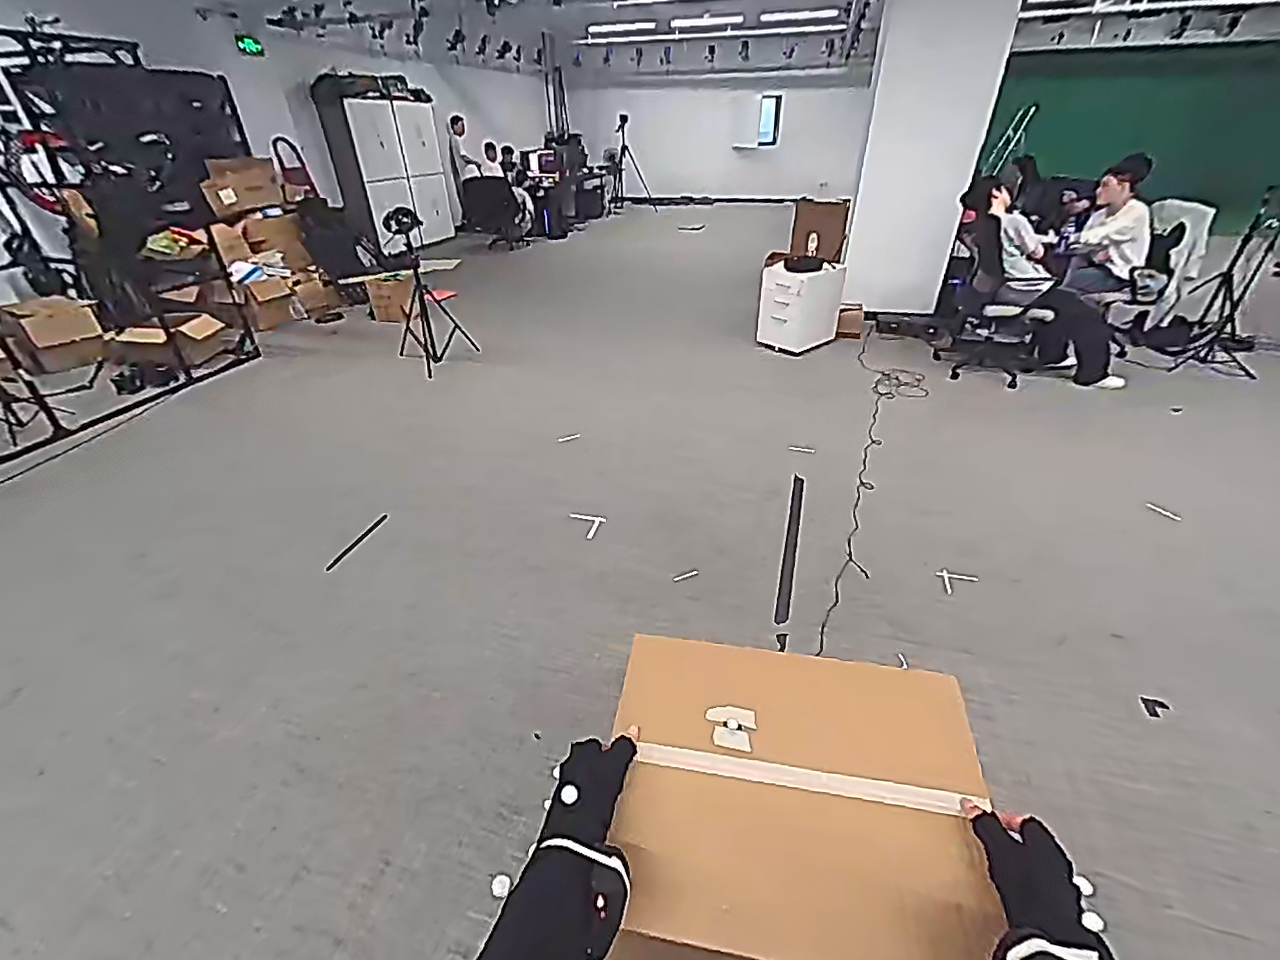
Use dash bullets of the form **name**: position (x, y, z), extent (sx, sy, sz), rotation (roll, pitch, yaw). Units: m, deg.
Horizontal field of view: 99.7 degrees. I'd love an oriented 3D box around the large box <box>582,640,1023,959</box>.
- **large box**: position (0.176, 0.442, 0.695), extent (0.408, 0.320, 0.320), rotation (4, 41, 11)
